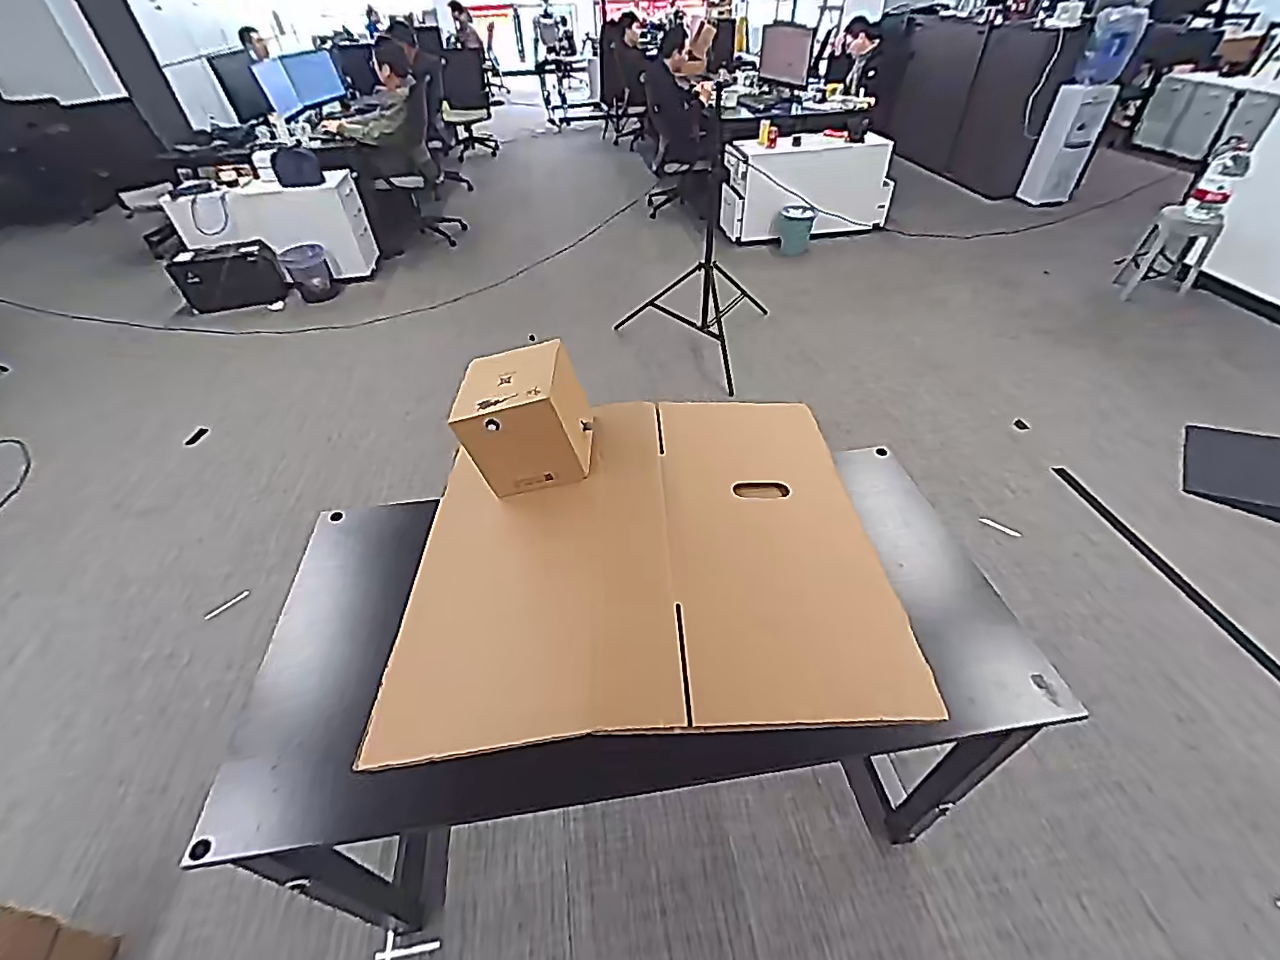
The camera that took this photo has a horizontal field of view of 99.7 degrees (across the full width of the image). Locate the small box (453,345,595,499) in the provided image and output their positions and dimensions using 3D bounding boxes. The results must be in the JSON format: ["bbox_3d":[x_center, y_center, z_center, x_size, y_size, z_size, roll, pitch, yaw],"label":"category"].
[{"bbox_3d":[-0.181,-0.095,0.909,0.168,0.176,0.179,-13,41,11],"label":"small box"}]

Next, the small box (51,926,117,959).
[{"bbox_3d":[-1.200,1.021,1.064,0.168,0.176,0.179,-10,44,-7],"label":"small box"}]

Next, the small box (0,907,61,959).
[{"bbox_3d":[-1.209,0.899,0.957,0.168,0.176,0.179,-11,42,-10],"label":"small box"}]
